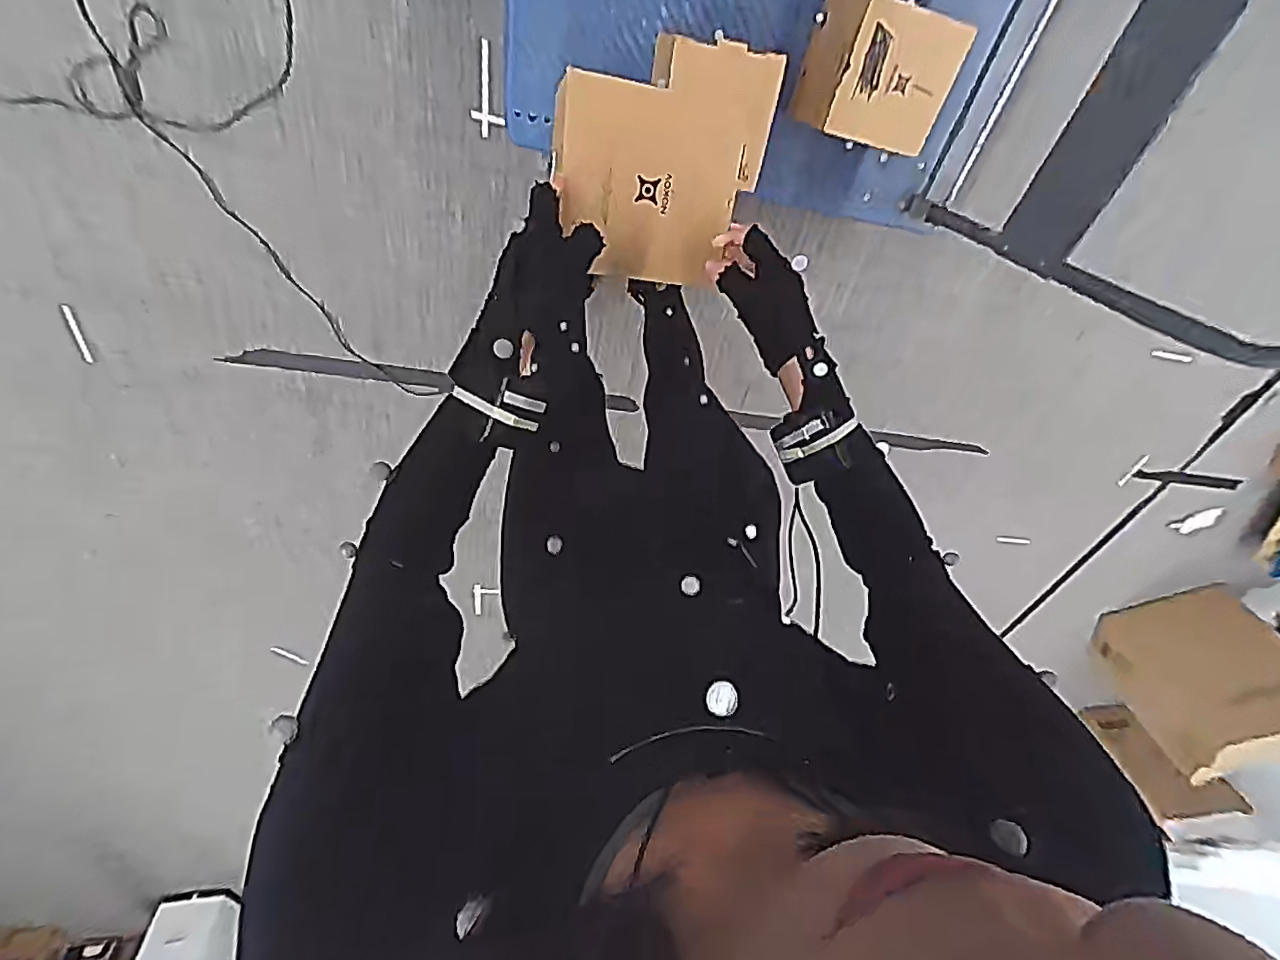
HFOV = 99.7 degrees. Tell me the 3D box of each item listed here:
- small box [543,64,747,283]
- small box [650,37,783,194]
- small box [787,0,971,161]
[{"bbox_3d":[-0.009,-0.319,0.590,0.179,0.176,0.168,1,115,-14],"label":"small box"},{"bbox_3d":[0.101,-0.578,0.860,0.168,0.176,0.179,2,129,-11],"label":"small box"},{"bbox_3d":[0.360,-0.631,0.856,0.179,0.176,0.168,6,129,-15],"label":"small box"}]
